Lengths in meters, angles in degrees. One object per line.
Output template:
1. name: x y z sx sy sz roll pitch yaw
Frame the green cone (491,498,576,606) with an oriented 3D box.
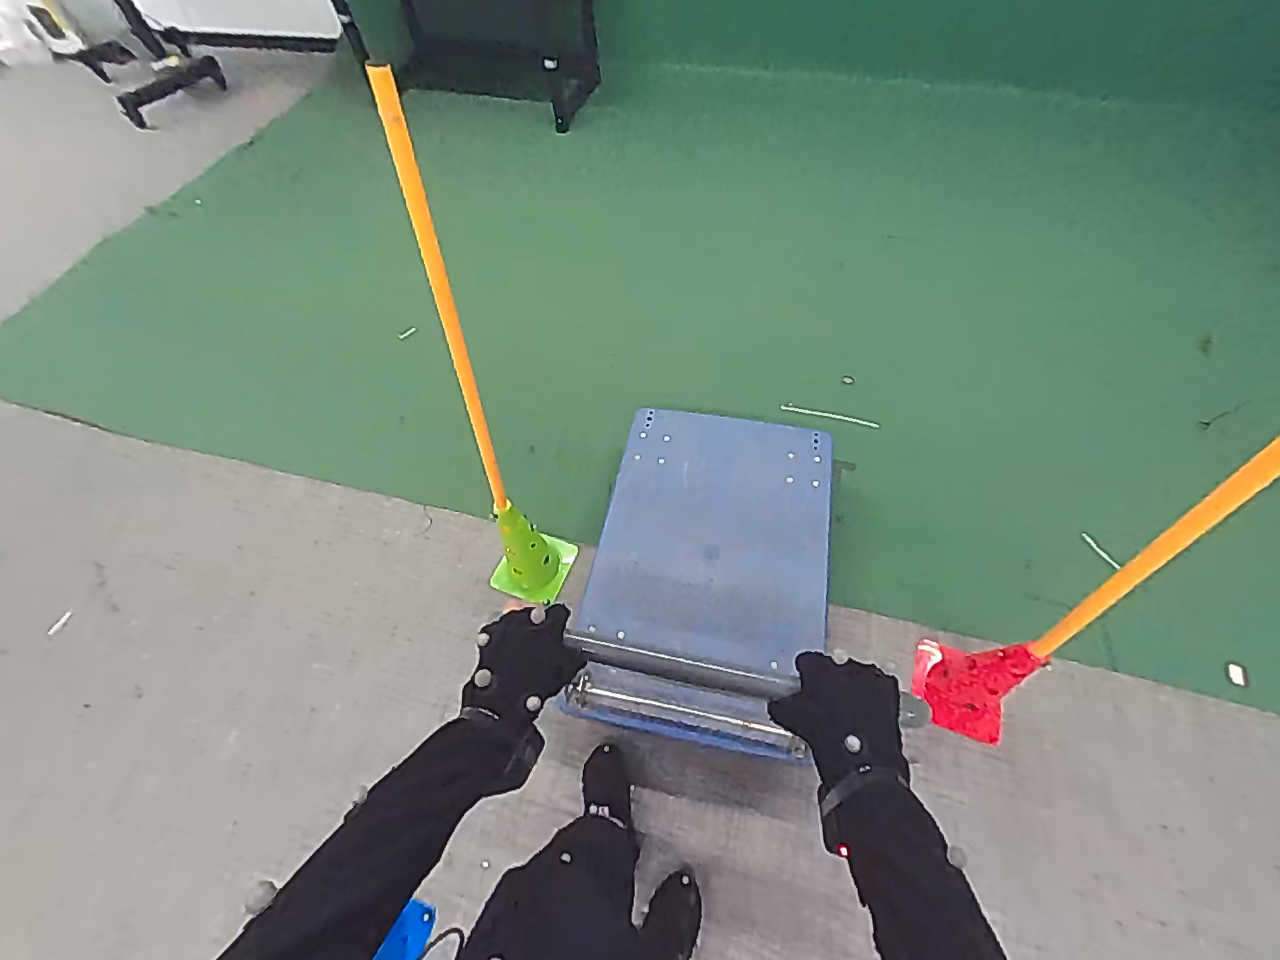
1. green cone: -0.316 0.156 1.421 0.202 0.368 0.200 16 59 14
